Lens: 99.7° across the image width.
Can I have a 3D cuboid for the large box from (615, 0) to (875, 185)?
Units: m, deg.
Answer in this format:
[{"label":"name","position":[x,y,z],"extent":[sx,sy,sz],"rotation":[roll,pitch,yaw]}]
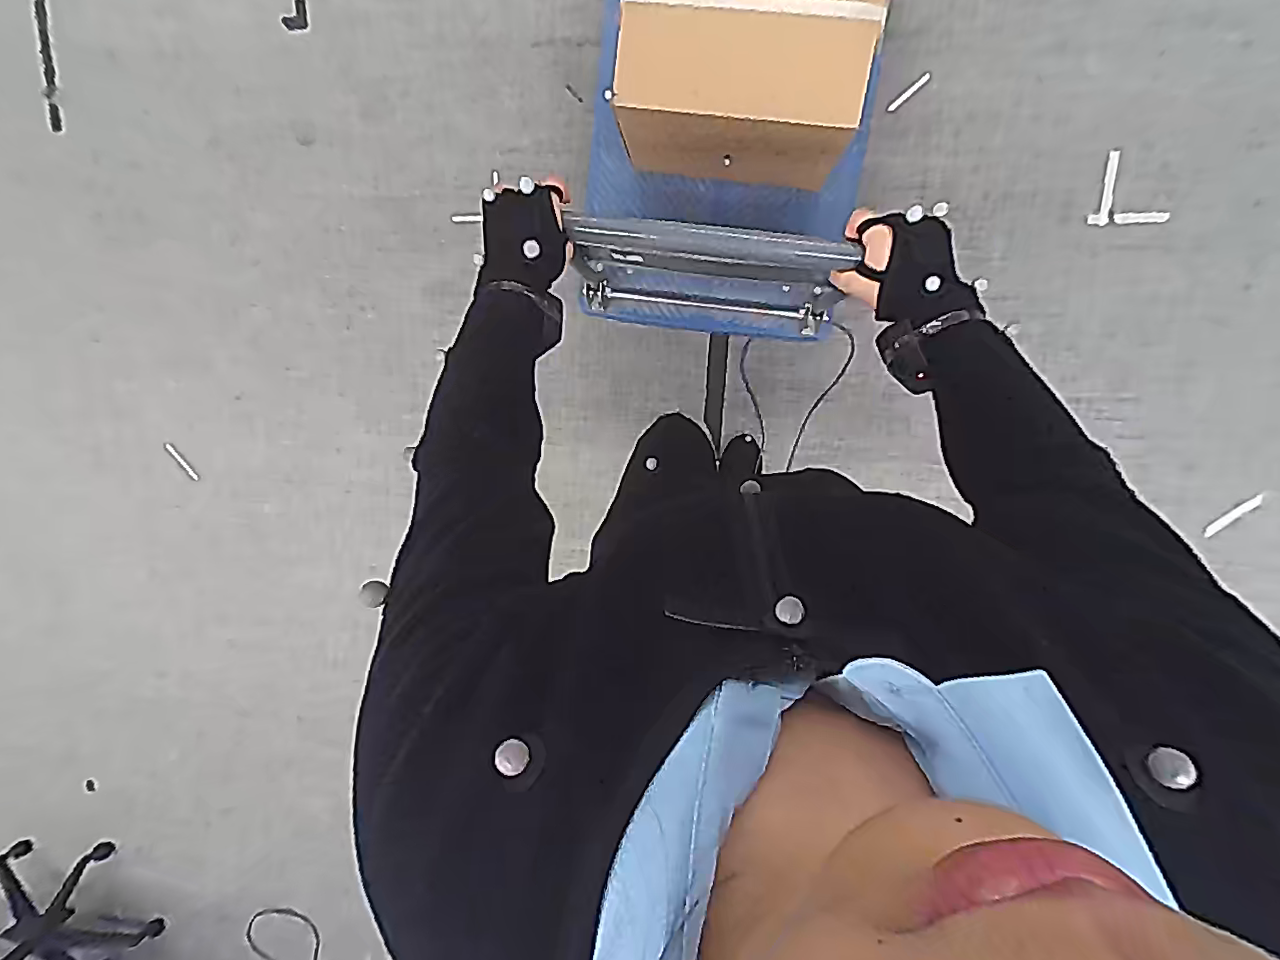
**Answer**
[{"label":"large box","position":[0.190,-0.778,1.012],"extent":[0.408,0.320,0.320],"rotation":[8,101,6]}]
